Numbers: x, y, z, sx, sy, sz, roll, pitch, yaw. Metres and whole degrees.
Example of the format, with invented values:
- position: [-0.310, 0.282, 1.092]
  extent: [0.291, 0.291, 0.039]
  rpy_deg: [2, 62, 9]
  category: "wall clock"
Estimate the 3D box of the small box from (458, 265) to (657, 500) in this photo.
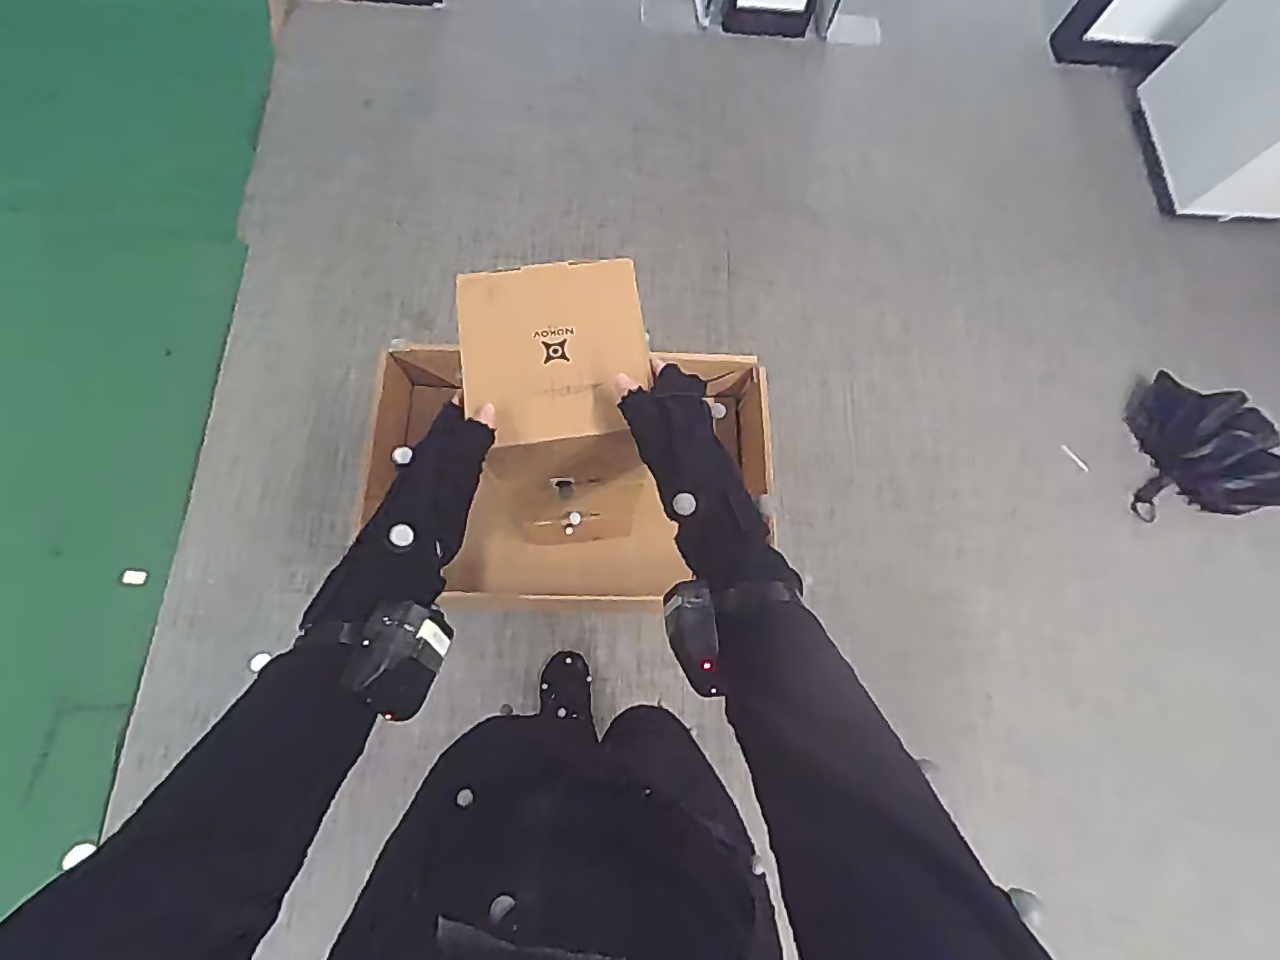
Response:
- position: [-0.082, -0.092, 0.565]
  extent: [0.168, 0.176, 0.179]
  rpy_deg: [-9, 75, -5]
  category: "small box"

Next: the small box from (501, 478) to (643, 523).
- position: [-0.090, -0.049, 0.720]
  extent: [0.168, 0.176, 0.179]
  rpy_deg: [-4, 74, -5]
  category: "small box"

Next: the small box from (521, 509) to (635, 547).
- position: [-0.101, 0.001, 0.876]
  extent: [0.168, 0.176, 0.179]
  rpy_deg: [-6, 73, -4]
  category: "small box"
